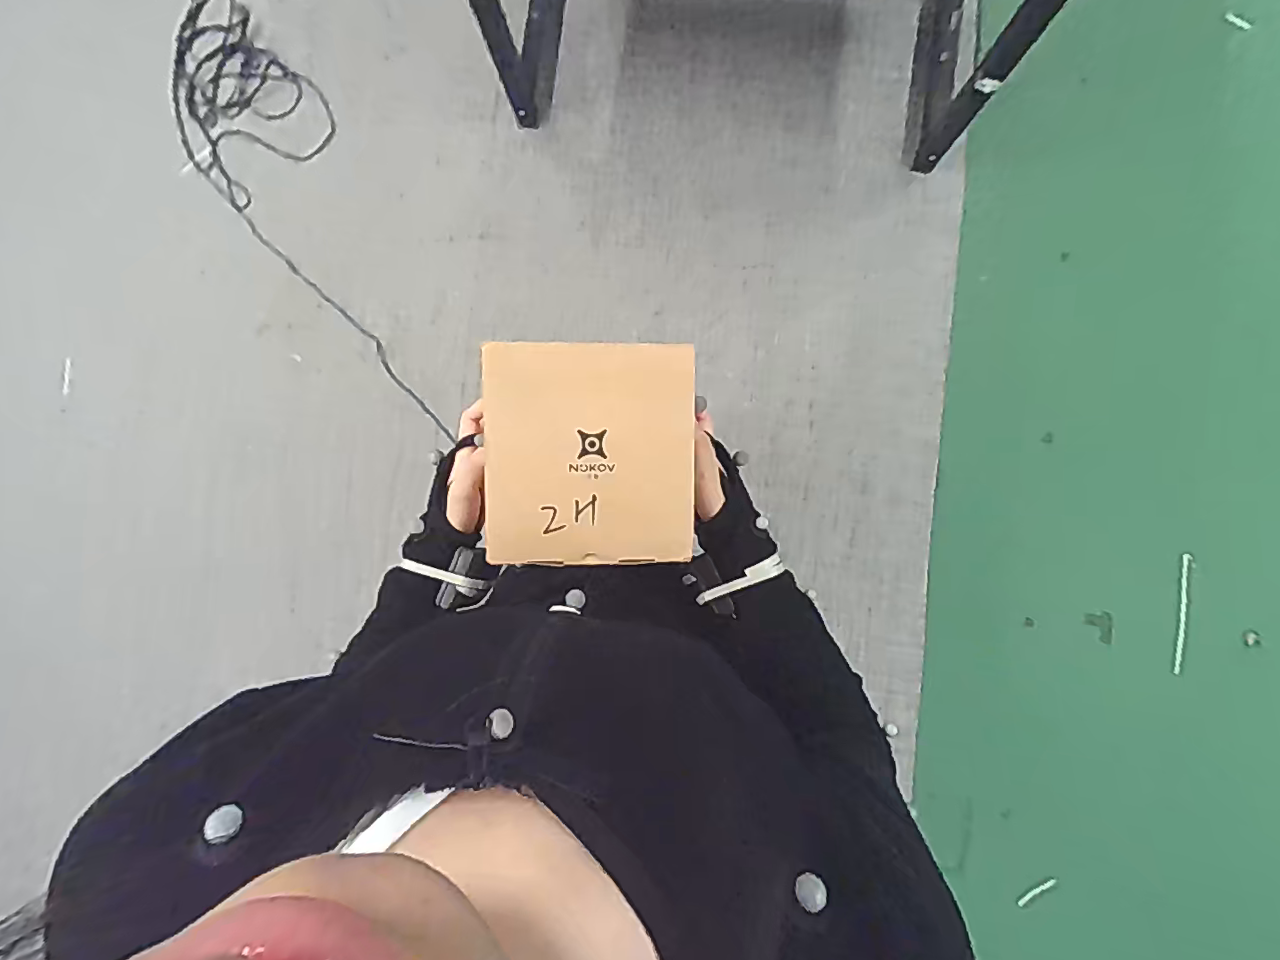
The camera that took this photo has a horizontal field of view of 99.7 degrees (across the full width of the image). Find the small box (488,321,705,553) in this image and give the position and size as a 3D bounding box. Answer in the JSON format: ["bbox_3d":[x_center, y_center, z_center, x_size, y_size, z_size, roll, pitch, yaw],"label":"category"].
[{"bbox_3d":[-0.039,-0.036,0.488,0.168,0.176,0.179,0,94,-4],"label":"small box"}]
